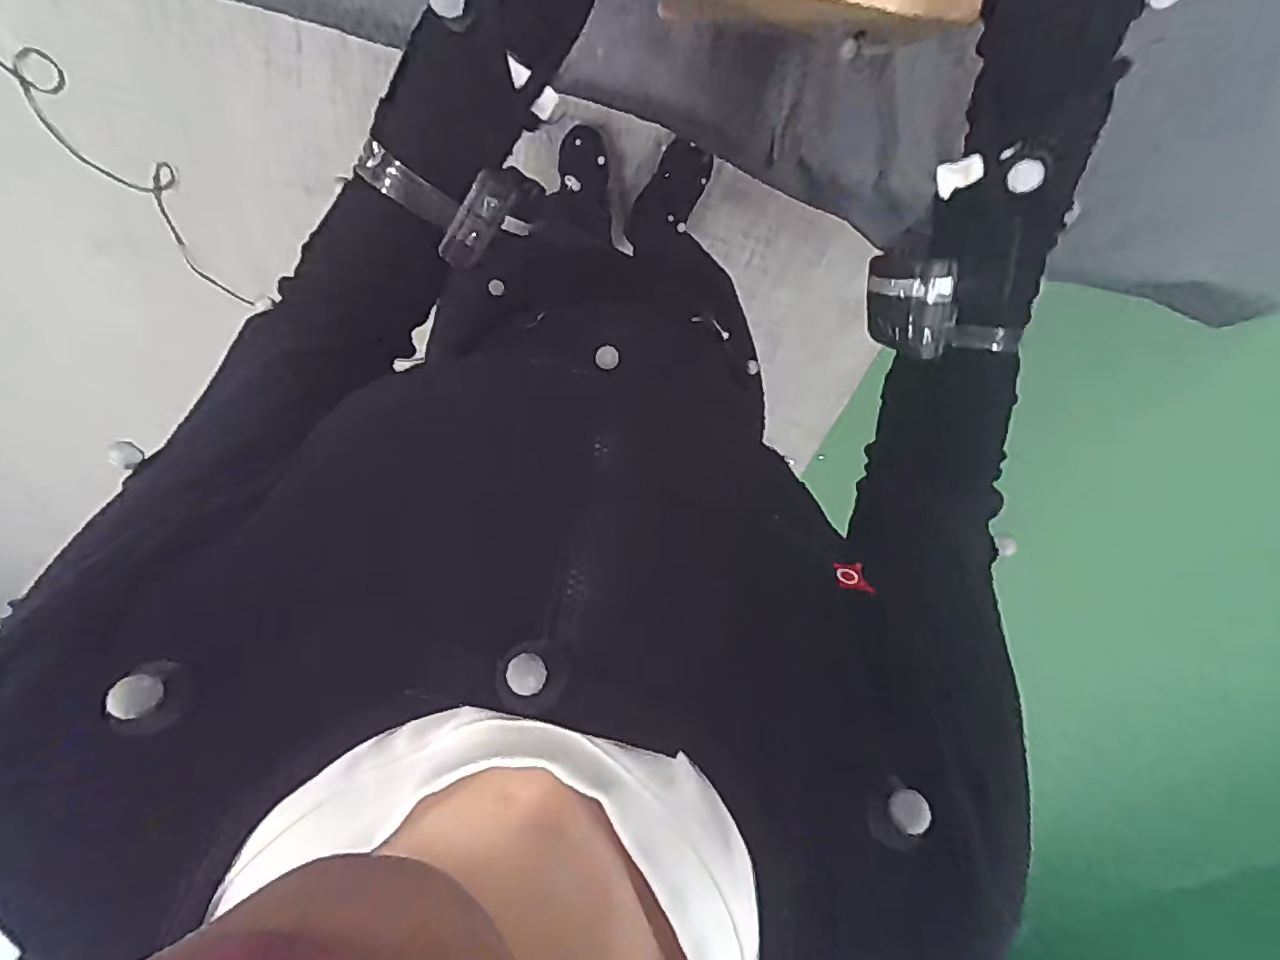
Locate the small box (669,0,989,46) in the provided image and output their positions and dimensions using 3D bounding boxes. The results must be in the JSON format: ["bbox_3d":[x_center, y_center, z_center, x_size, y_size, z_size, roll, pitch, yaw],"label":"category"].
[{"bbox_3d":[0.114,-0.374,0.316,0.179,0.176,0.168,6,123,-2],"label":"small box"}]
